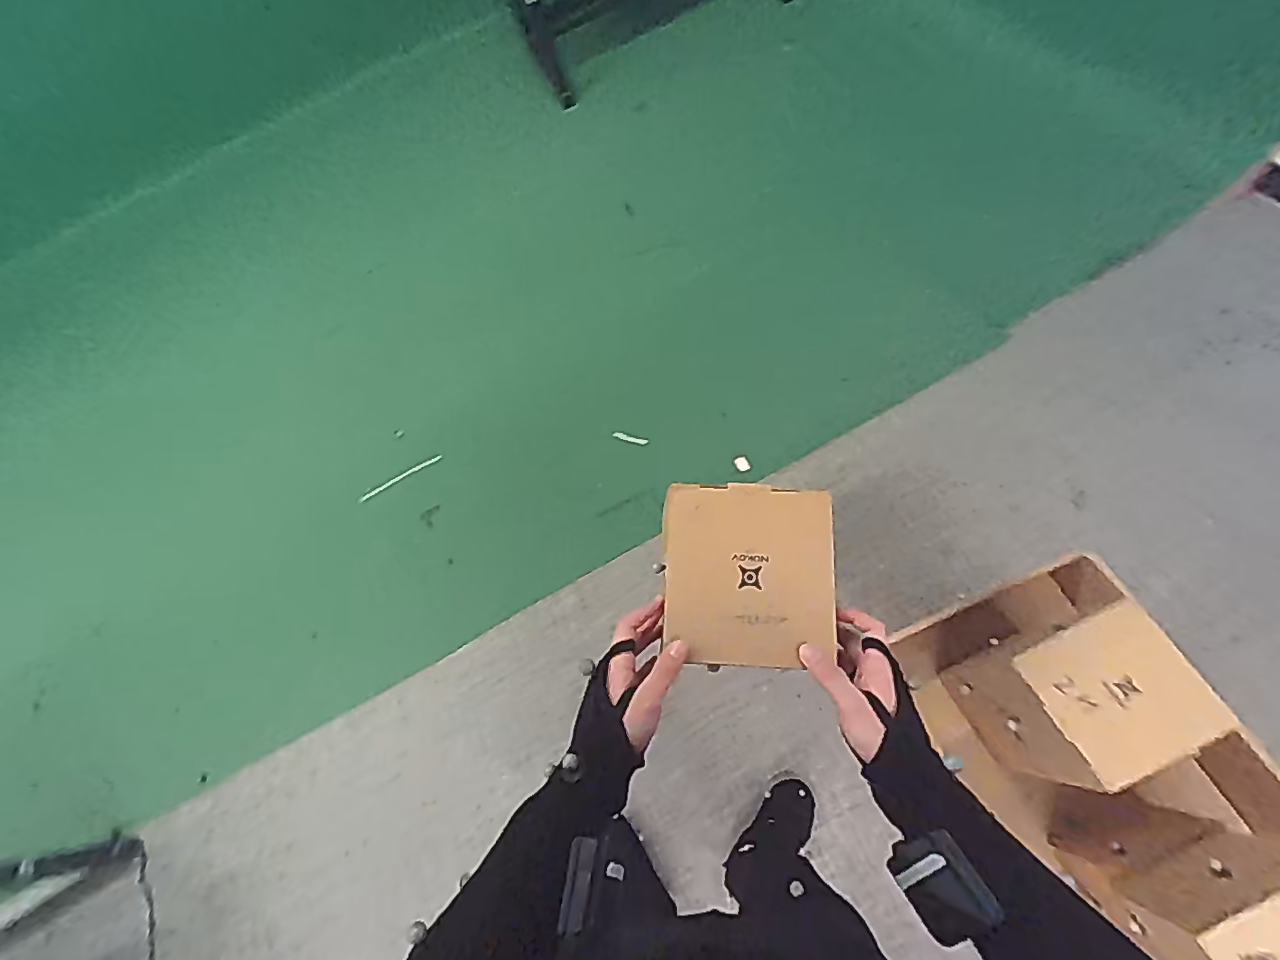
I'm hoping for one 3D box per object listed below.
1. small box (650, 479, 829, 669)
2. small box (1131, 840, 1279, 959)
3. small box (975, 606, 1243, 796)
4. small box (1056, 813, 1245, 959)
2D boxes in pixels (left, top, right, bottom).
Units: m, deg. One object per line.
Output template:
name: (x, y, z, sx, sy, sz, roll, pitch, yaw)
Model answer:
small box: (0.099, 0.108, 0.601, 0.168, 0.176, 0.179, 3, 75, 1)
small box: (0.707, 0.536, 0.597, 0.179, 0.176, 0.168, -27, 65, 0)
small box: (0.600, 0.291, 0.725, 0.179, 0.176, 0.168, -27, 64, 0)
small box: (0.742, 0.590, 0.749, 0.179, 0.176, 0.168, -23, 65, 3)
